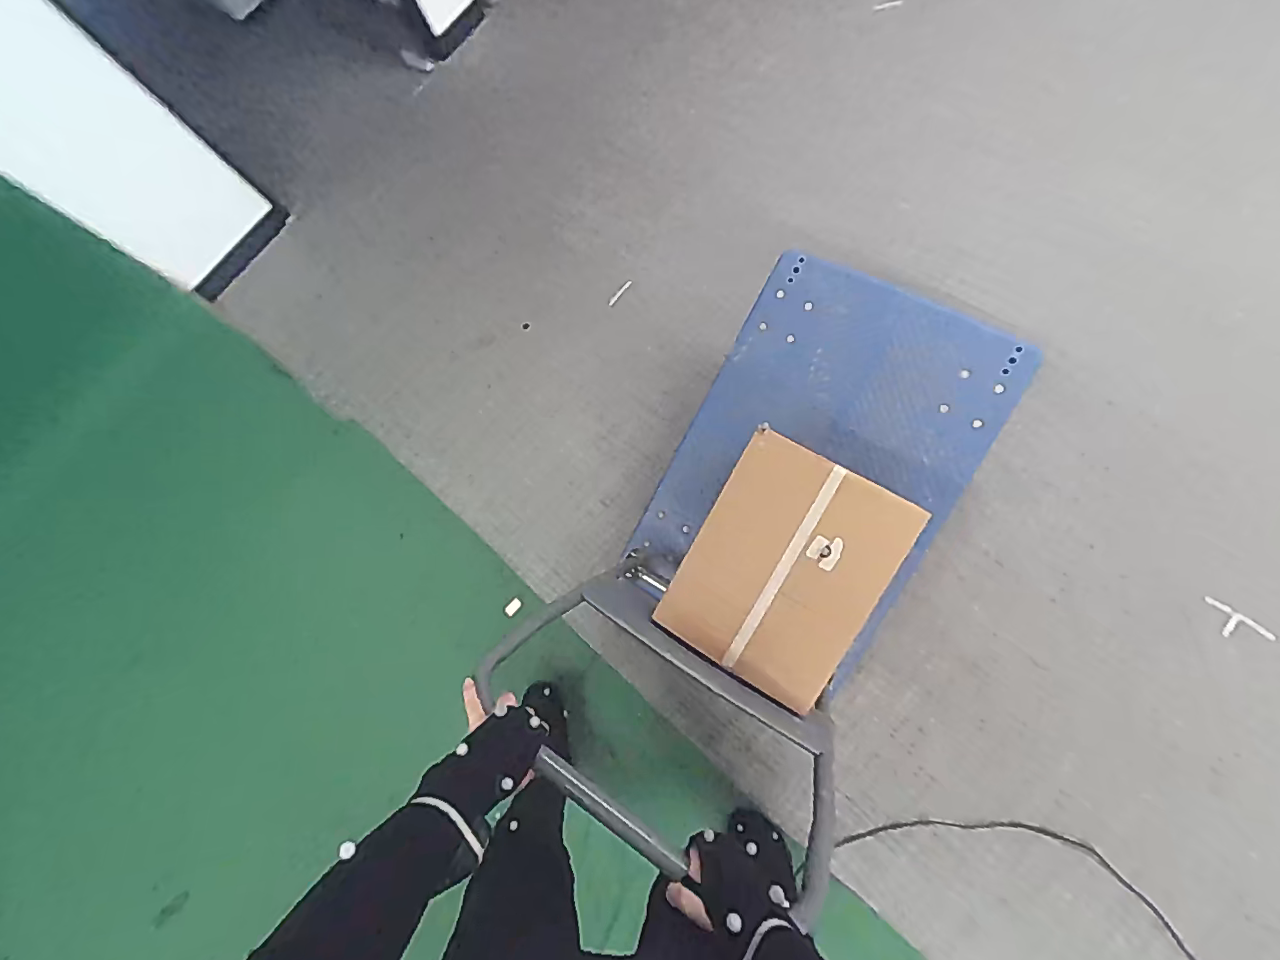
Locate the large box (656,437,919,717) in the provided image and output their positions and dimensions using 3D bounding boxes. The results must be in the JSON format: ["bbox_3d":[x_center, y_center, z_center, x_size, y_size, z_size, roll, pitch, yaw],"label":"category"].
[{"bbox_3d":[0.289,0.174,1.095,0.320,0.320,0.408,31,98,15],"label":"large box"}]
